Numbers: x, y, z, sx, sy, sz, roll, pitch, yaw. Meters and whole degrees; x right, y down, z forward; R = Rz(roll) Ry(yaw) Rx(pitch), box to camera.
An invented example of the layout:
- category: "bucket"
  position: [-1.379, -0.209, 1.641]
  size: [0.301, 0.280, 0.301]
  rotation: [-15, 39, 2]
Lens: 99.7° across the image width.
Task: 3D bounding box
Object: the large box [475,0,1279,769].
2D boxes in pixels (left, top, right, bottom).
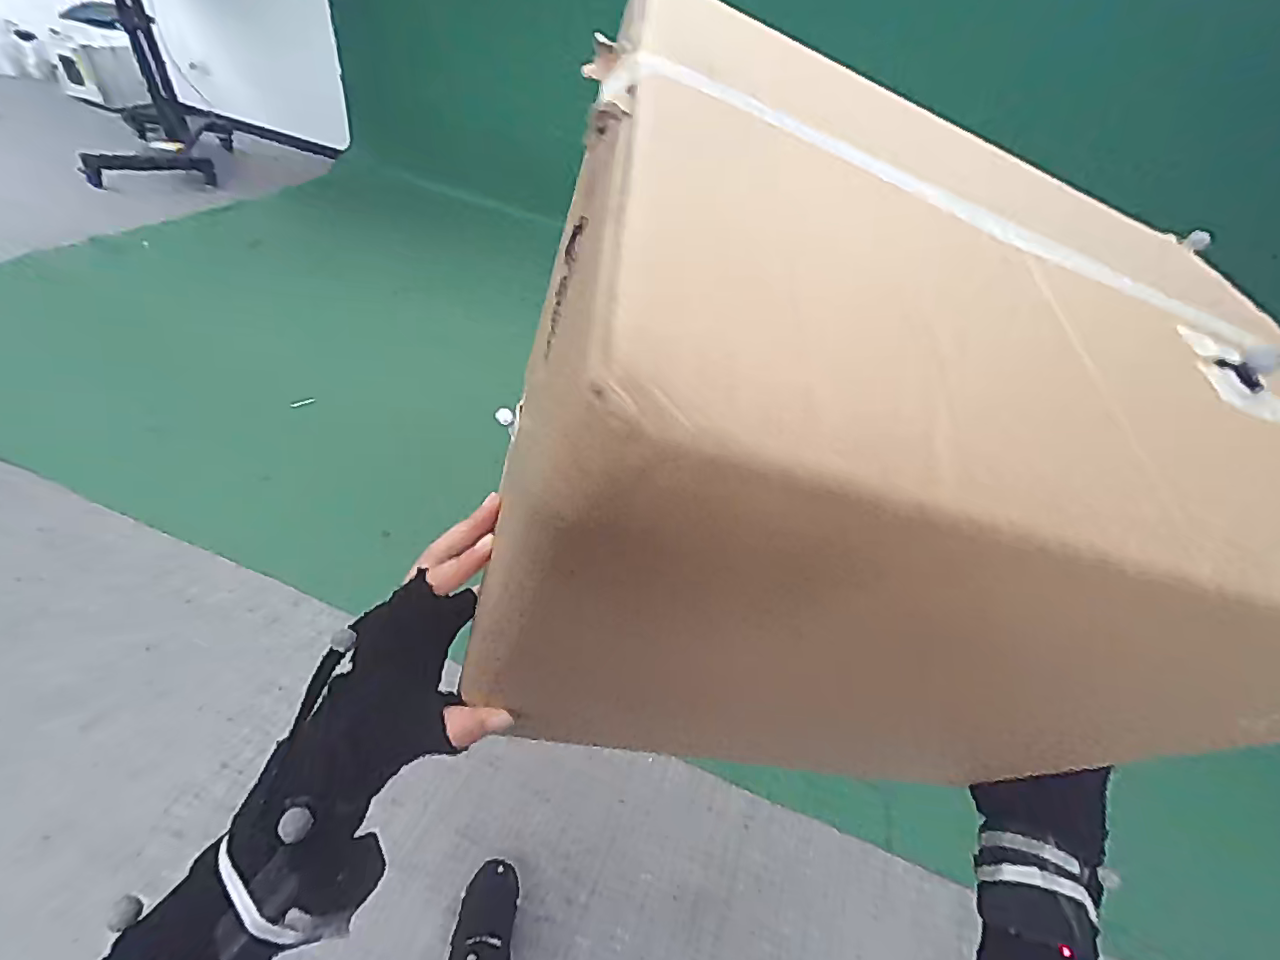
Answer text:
- category: "large box"
  position: [0.136, -0.007, 0.367]
  size: [0.408, 0.320, 0.320]
  rotation: [15, 53, -17]
